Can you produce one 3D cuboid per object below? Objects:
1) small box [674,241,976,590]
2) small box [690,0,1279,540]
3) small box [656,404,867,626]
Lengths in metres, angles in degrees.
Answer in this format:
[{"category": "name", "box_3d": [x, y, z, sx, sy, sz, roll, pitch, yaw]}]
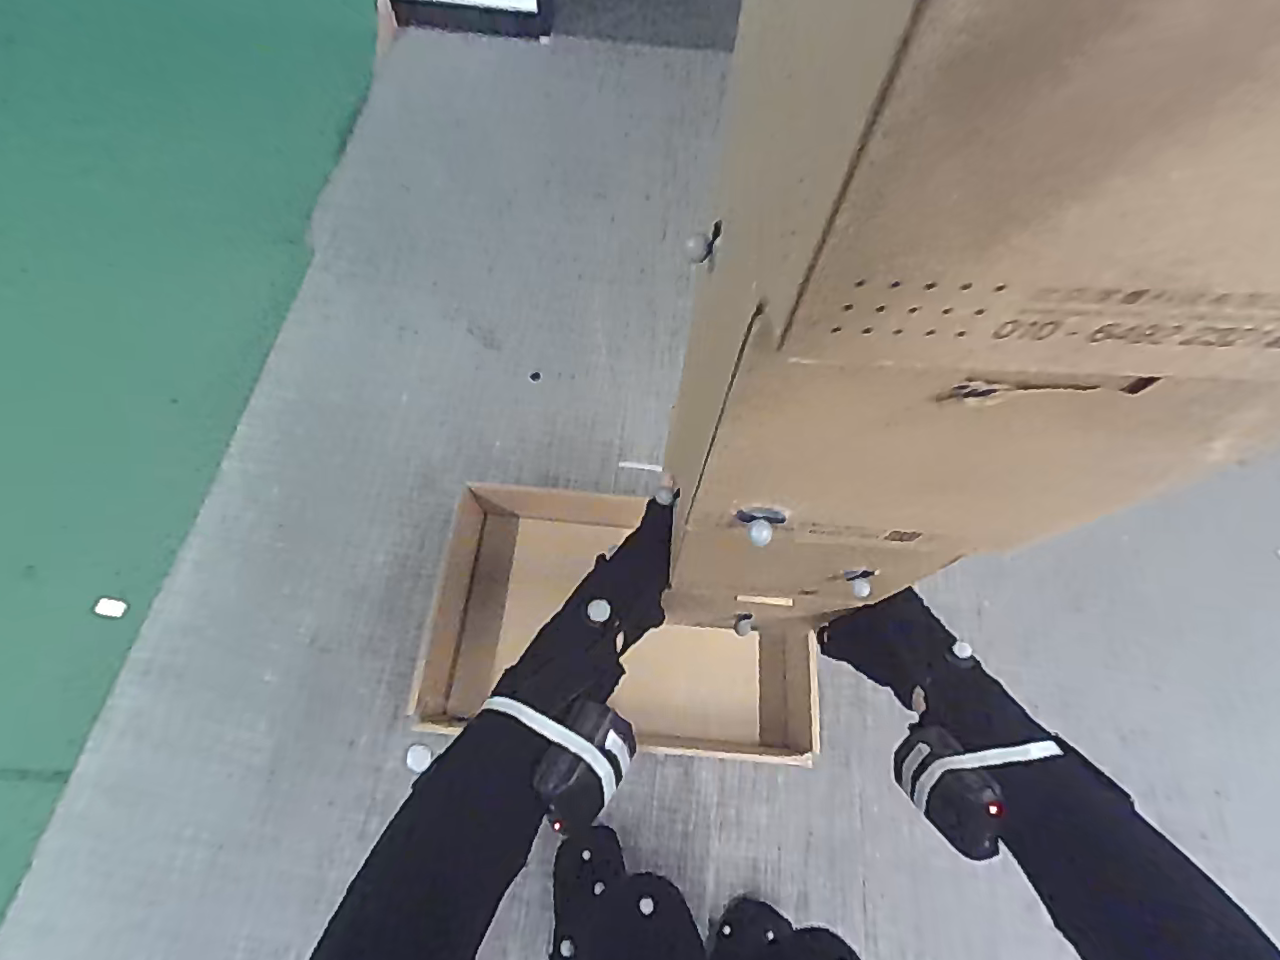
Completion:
[{"category": "small box", "box_3d": [0.112, -0.029, 0.363, 0.168, 0.176, 0.179, 3, 66, 0]}, {"category": "small box", "box_3d": [0.113, -0.083, 0.226, 0.168, 0.176, 0.179, 4, 66, 0]}, {"category": "small box", "box_3d": [0.102, 0.043, 0.530, 0.168, 0.176, 0.179, 1, 65, 0]}]
